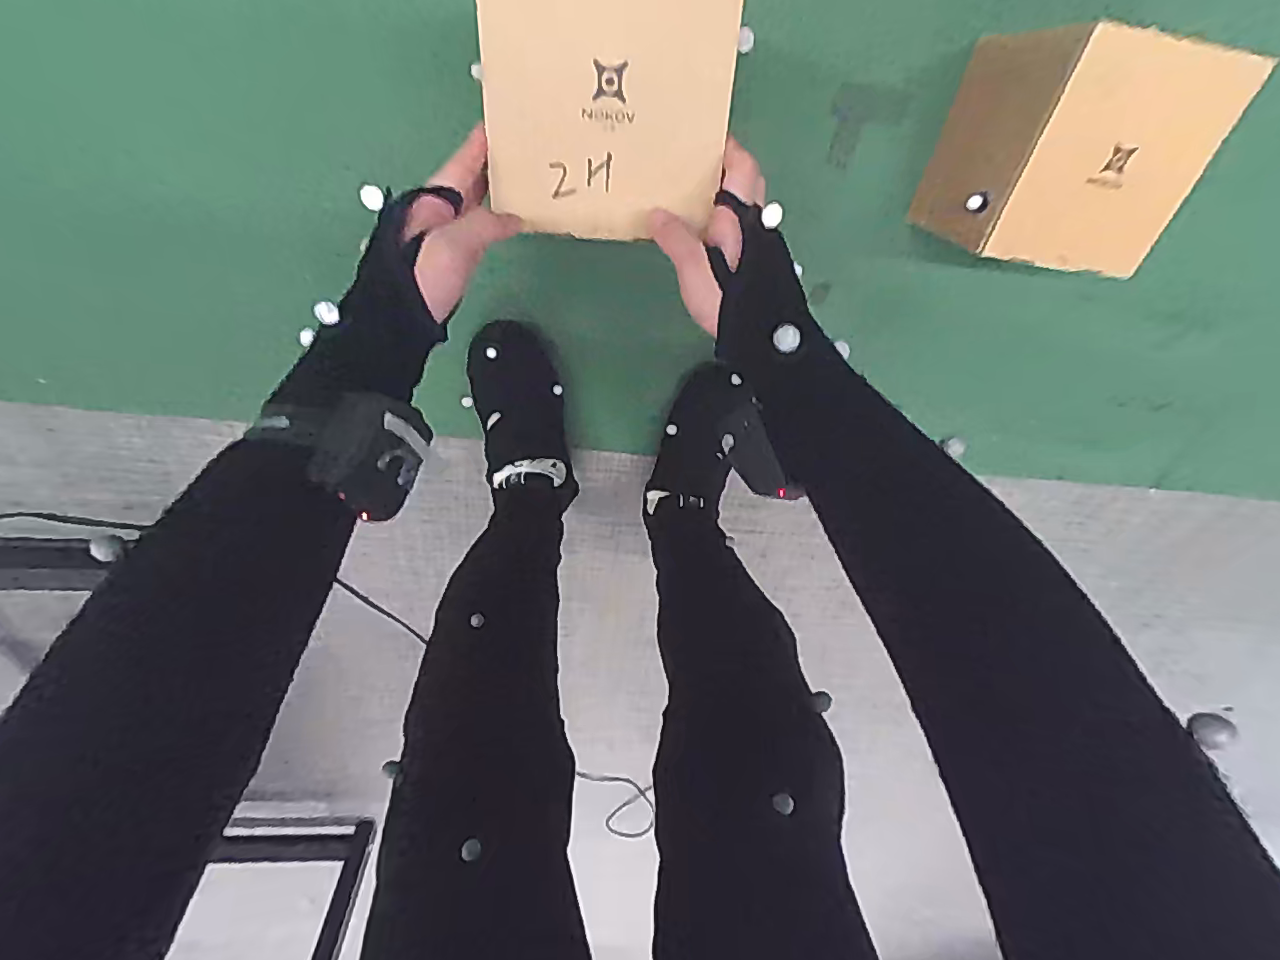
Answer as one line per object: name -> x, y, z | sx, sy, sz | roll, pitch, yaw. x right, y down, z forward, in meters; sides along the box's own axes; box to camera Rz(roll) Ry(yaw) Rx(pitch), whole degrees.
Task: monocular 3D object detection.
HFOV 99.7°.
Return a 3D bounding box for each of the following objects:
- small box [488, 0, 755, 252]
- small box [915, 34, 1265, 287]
small box -> -0.018, -0.291, 0.424 | 0.168, 0.176, 0.179 | 3, 122, -3
small box -> 0.414, -0.318, 0.542 | 0.168, 0.176, 0.179 | 6, 128, -7
